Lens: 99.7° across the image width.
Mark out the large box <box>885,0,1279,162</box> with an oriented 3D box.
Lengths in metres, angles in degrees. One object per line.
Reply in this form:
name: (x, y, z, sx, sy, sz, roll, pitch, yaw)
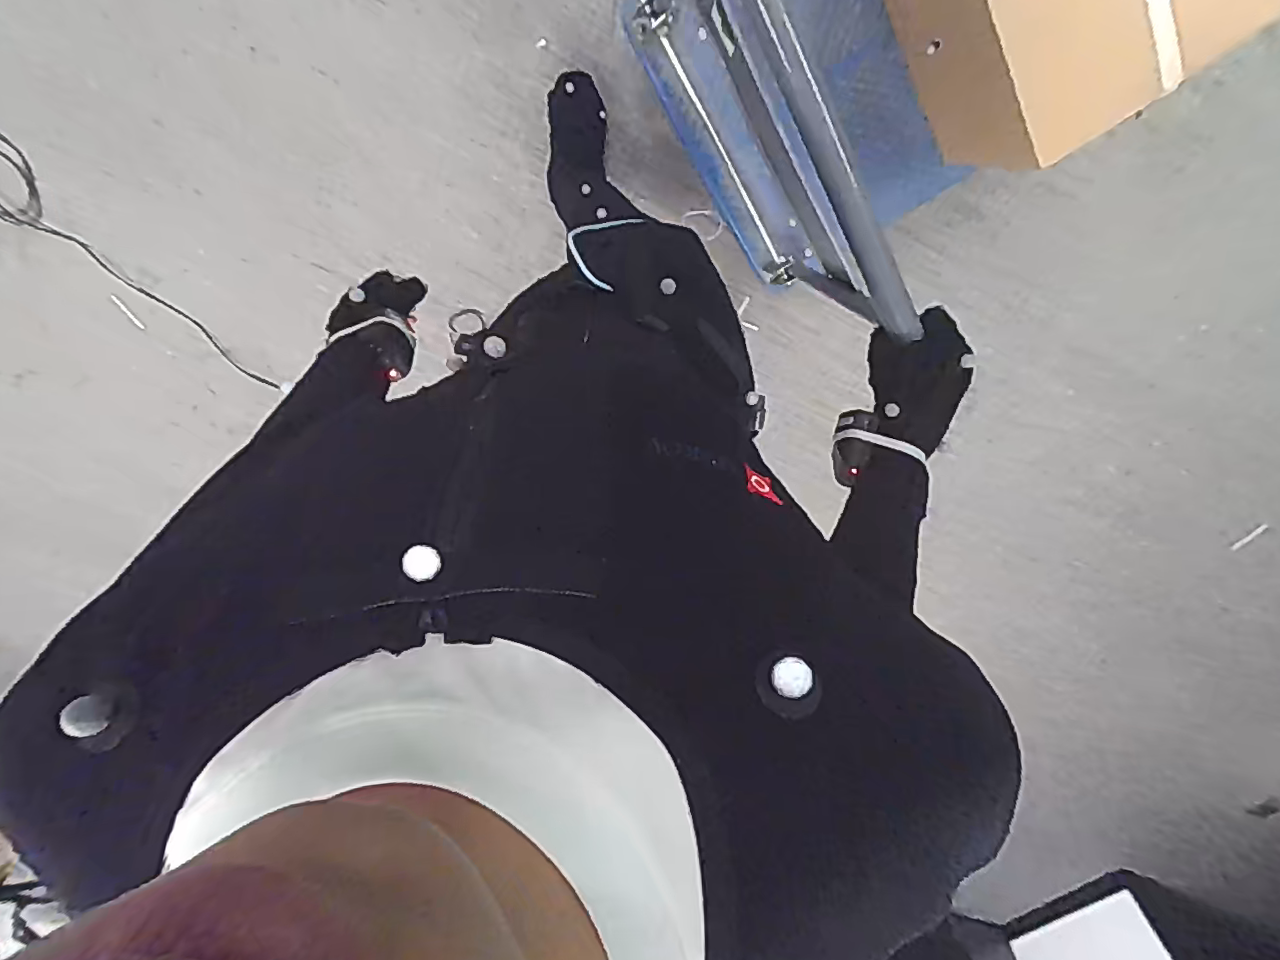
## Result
large box: (0.571, -0.734, 0.757, 0.320, 0.320, 0.408, -31, 115, 19)
